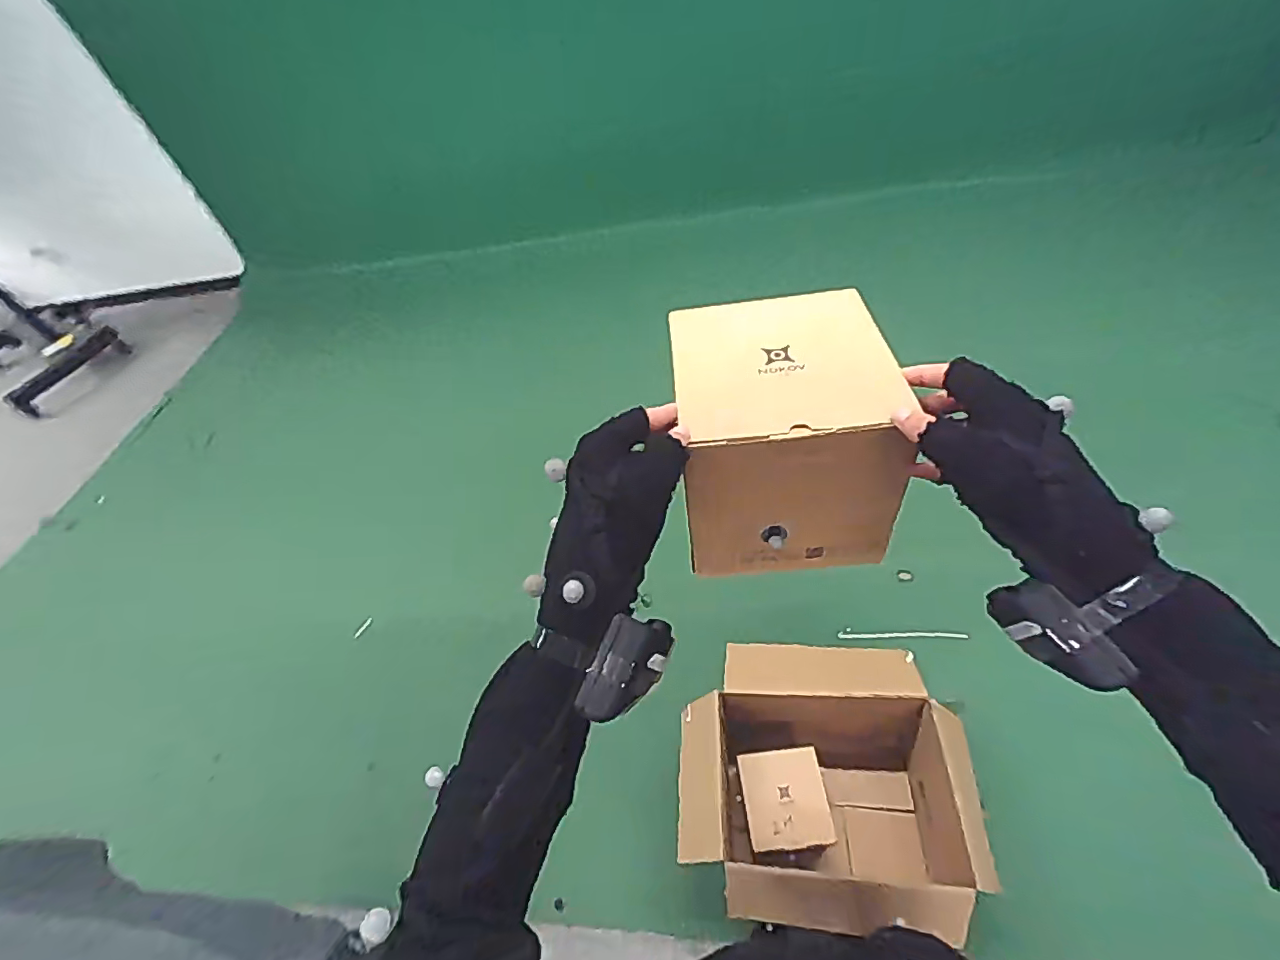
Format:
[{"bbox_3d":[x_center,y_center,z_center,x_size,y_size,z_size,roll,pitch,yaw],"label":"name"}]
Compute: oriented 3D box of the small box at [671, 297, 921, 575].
[{"bbox_3d":[0.118,-0.037,0.485,0.168,0.176,0.179,-7,47,5],"label":"small box"}]
